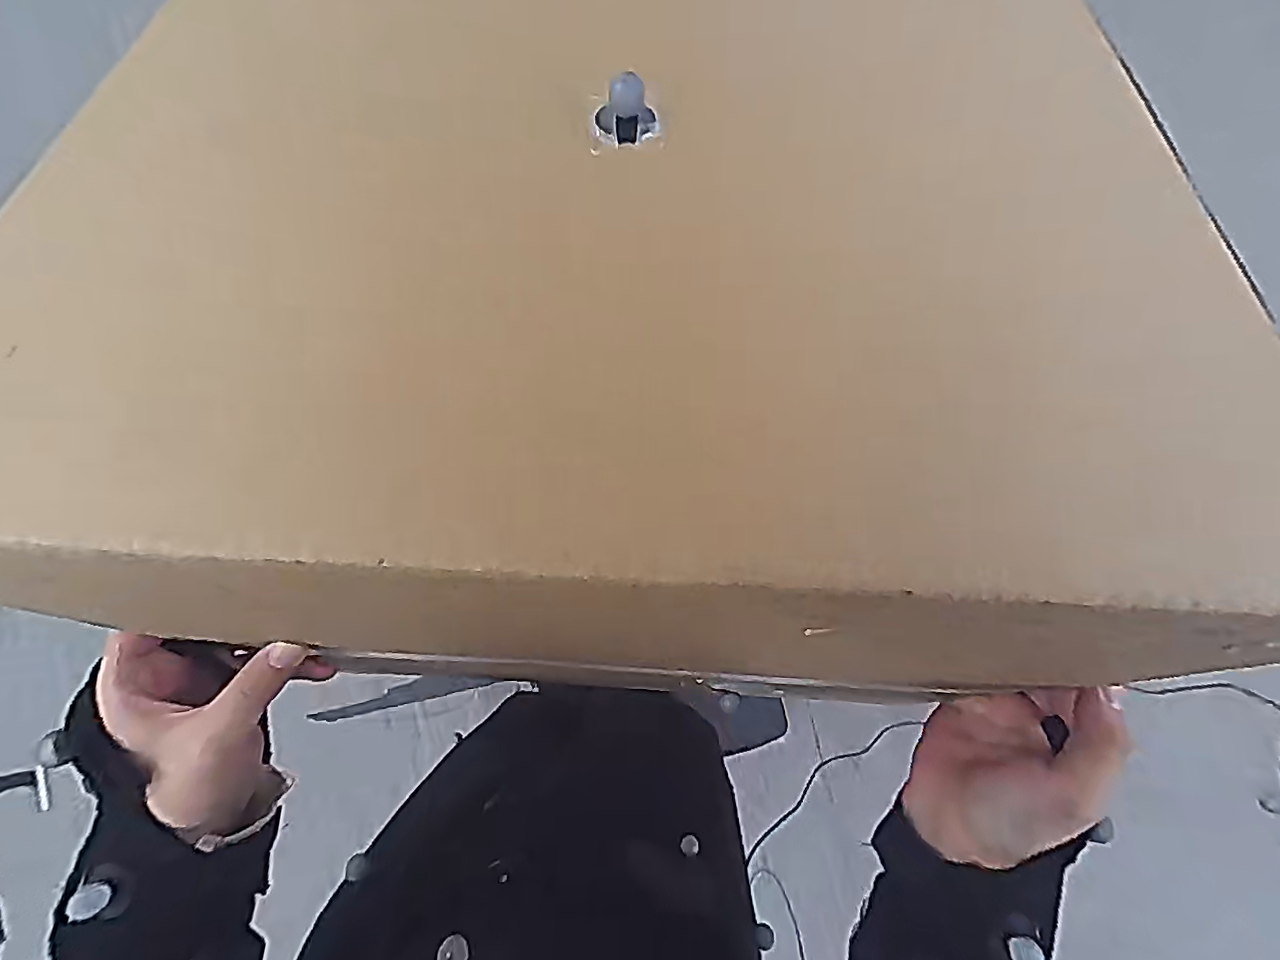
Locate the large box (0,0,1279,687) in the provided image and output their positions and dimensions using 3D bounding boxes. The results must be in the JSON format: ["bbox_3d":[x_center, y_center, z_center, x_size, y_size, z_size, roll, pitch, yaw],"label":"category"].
[{"bbox_3d":[-0.017,-0.056,0.326,0.408,0.320,0.320,2,67,1],"label":"large box"}]
